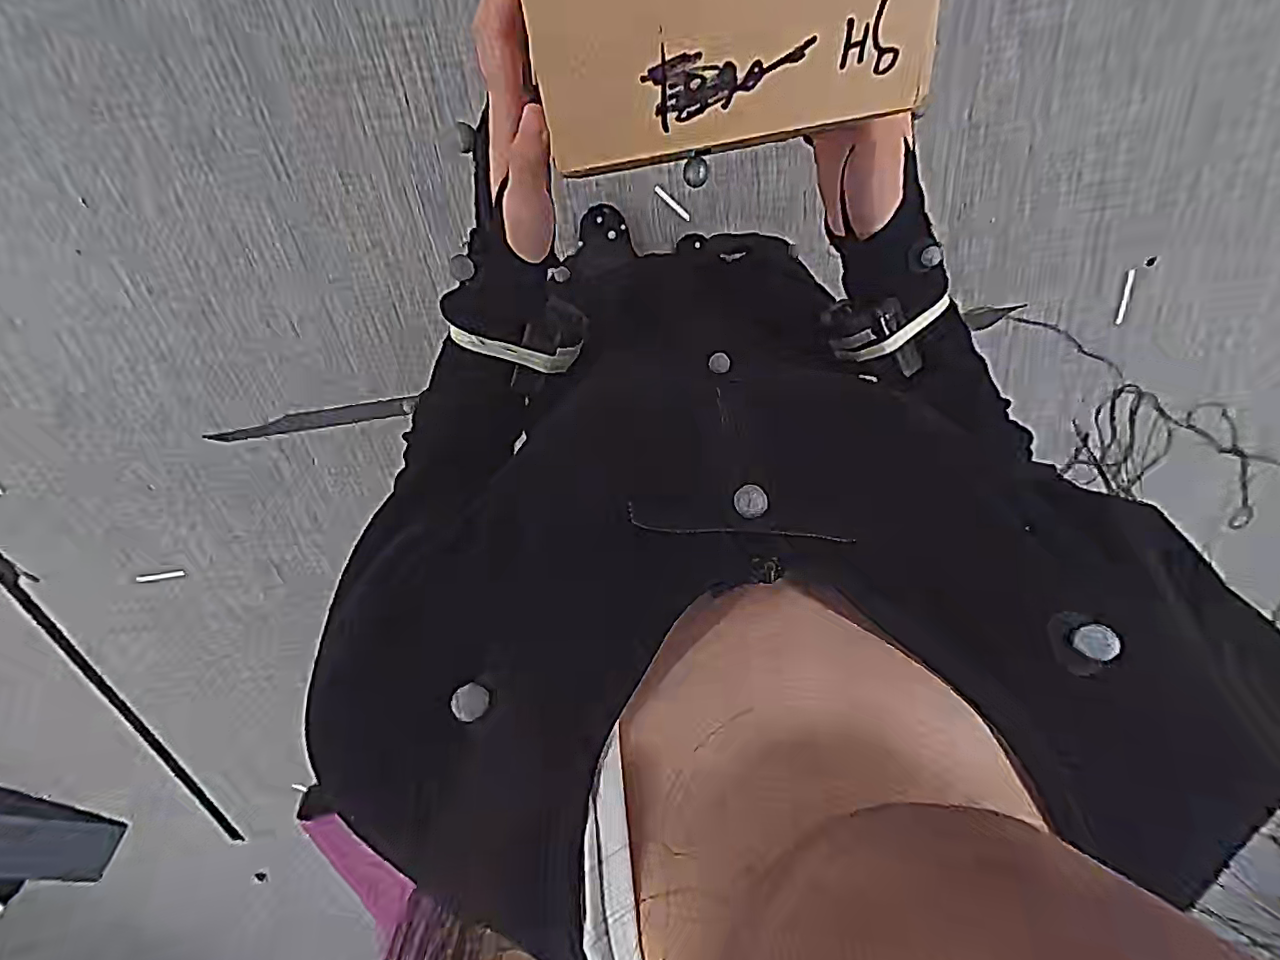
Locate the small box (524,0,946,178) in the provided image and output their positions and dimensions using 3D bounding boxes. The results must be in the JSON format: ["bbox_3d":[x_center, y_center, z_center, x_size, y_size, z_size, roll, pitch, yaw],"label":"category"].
[{"bbox_3d":[0.025,-0.257,0.258,0.168,0.176,0.179,-10,119,1],"label":"small box"}]
